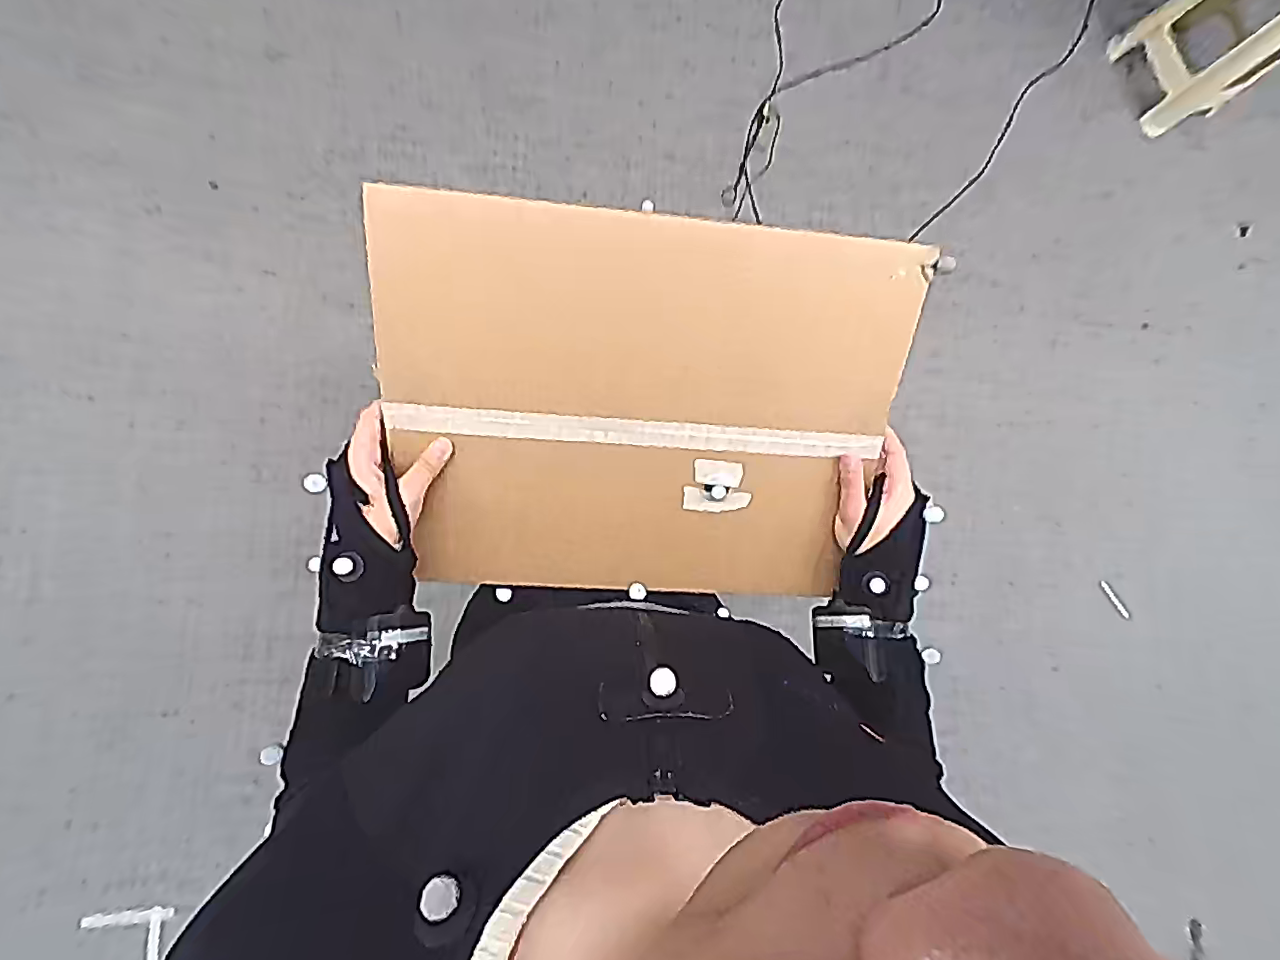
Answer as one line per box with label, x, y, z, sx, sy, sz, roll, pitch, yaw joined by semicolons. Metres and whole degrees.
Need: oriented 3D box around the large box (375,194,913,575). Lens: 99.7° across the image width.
large box;-0.013;-0.111;0.587;0.408;0.320;0.320;2;115;-7
